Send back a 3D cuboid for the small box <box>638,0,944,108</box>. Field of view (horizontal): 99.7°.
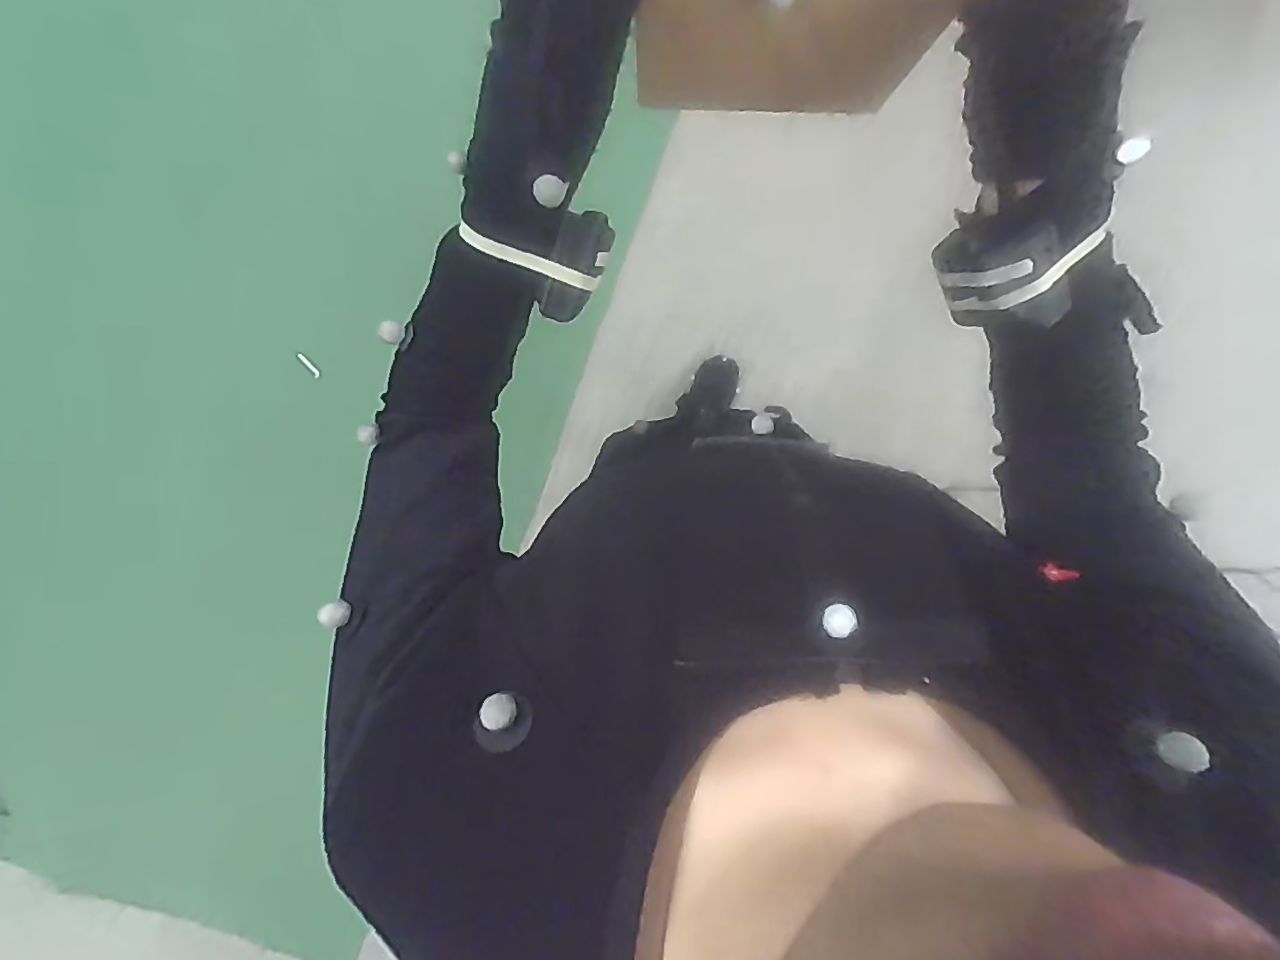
[{"bbox_3d":[0.088,-0.338,0.300,0.179,0.176,0.168,1,98,-1],"label":"small box"}]
